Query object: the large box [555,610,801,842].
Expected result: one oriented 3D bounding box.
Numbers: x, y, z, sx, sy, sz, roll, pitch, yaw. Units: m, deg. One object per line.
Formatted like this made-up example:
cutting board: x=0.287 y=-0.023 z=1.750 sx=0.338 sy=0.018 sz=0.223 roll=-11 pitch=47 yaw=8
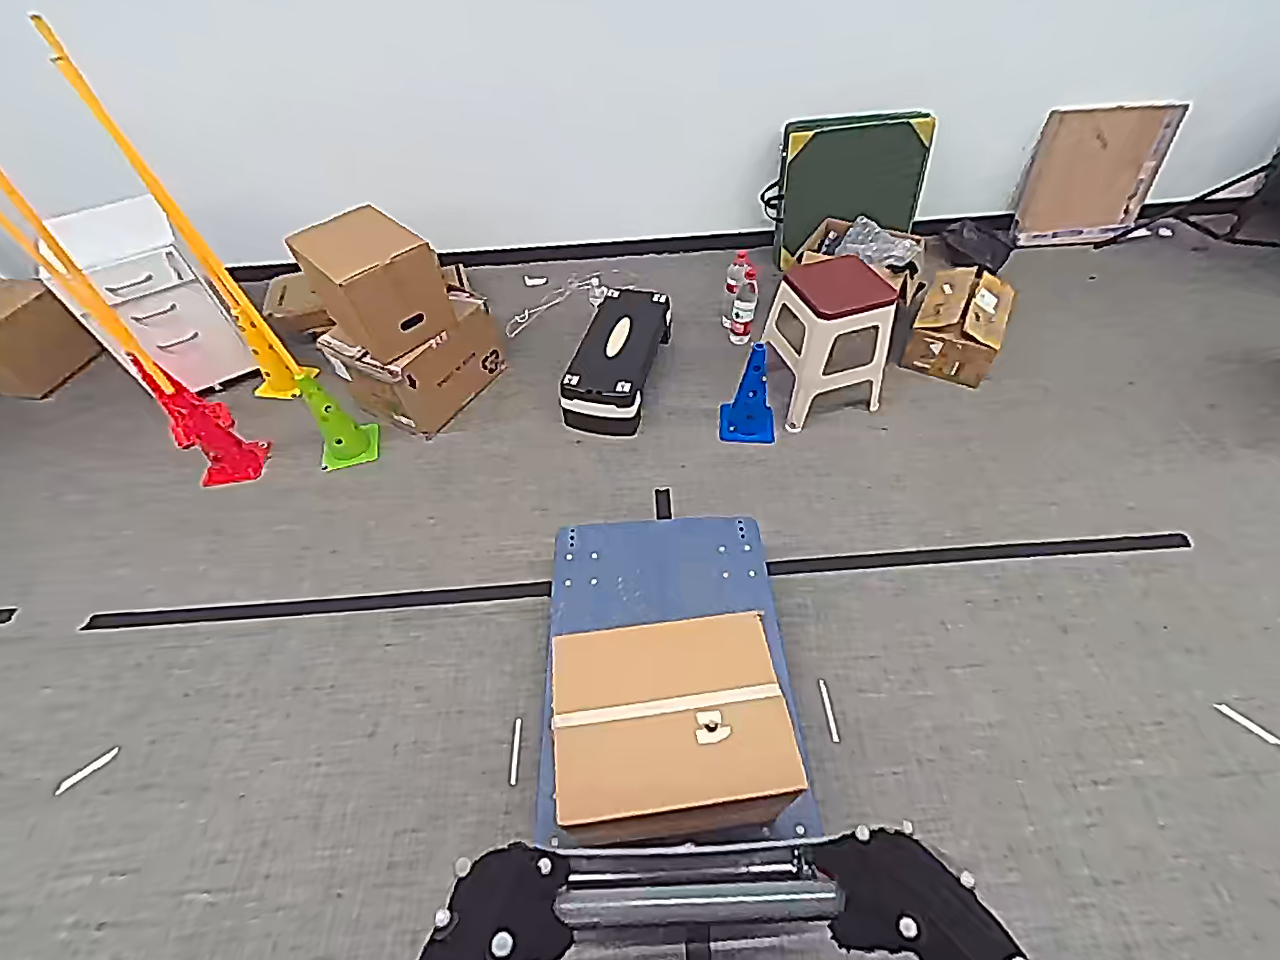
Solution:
large box: x=0.053 y=0.494 z=1.083 sx=0.408 sy=0.320 sz=0.320 roll=-6 pitch=51 yaw=-4
